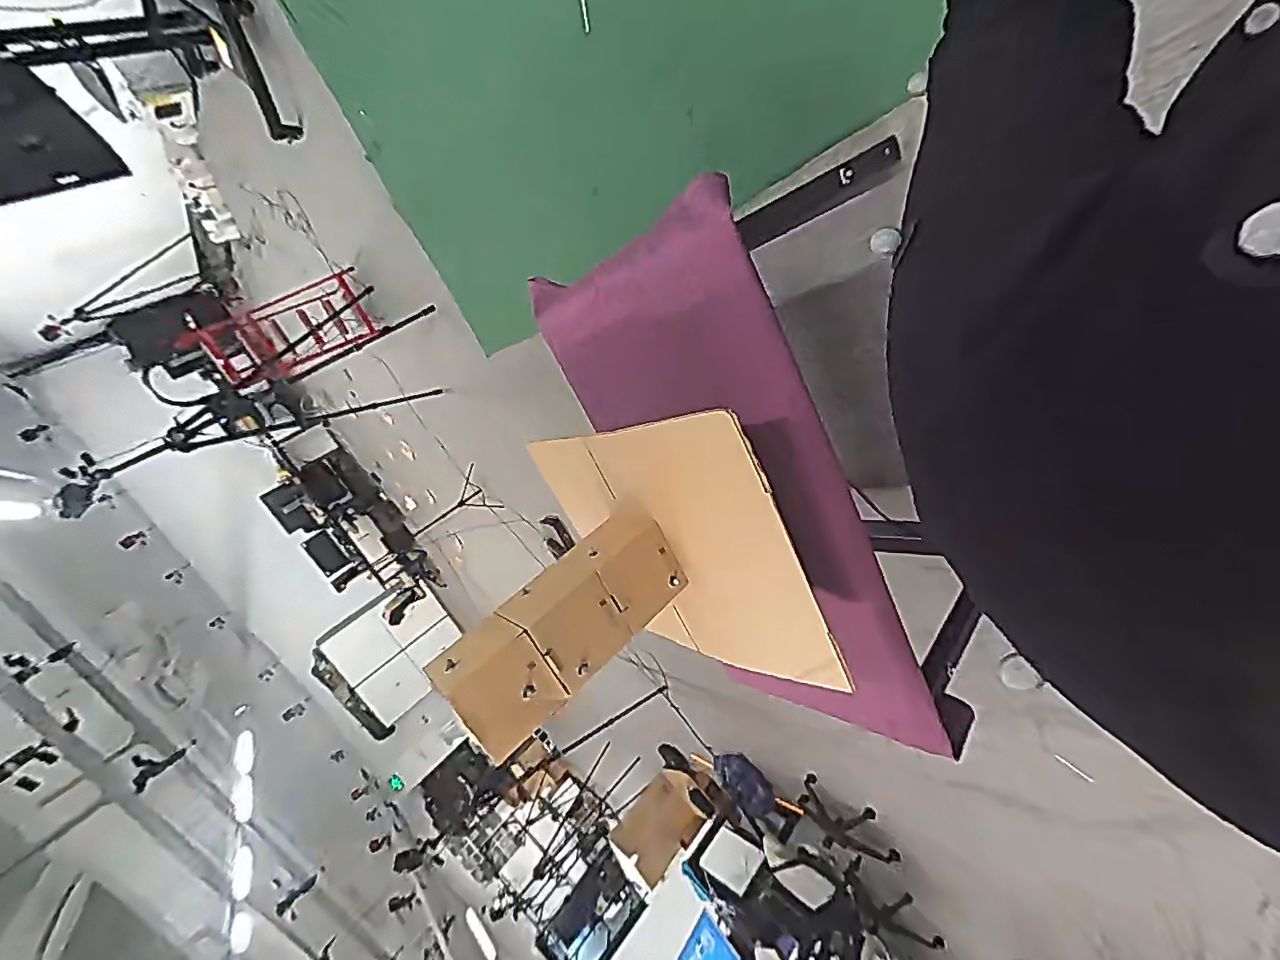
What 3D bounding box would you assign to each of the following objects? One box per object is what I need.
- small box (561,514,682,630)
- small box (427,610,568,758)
[{"bbox_3d":[-0.032,0.187,1.156,0.179,0.176,0.168,1,124,55],"label":"small box"},{"bbox_3d":[-0.262,0.365,1.005,0.179,0.176,0.168,-2,121,56],"label":"small box"}]
